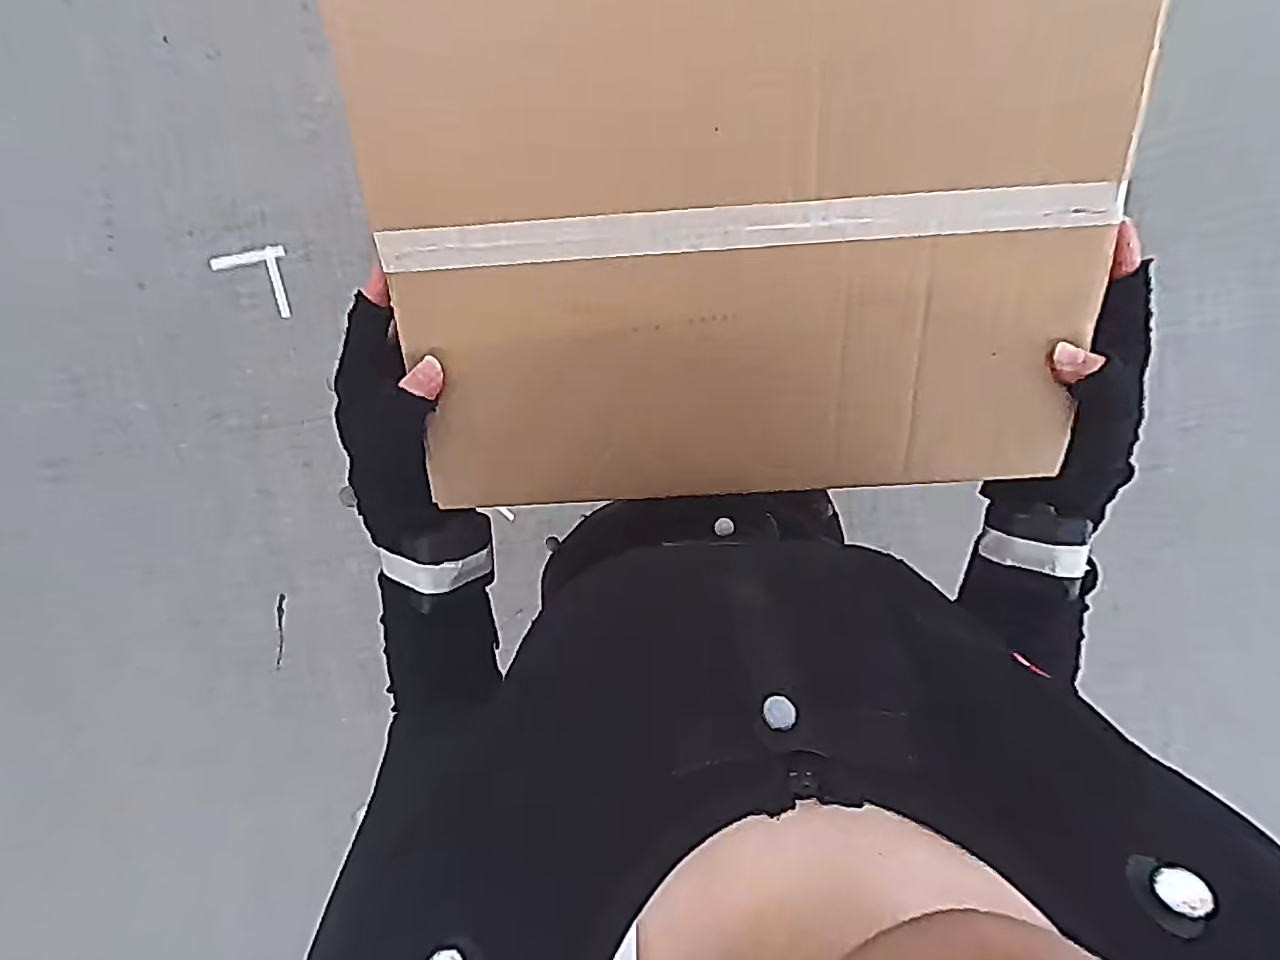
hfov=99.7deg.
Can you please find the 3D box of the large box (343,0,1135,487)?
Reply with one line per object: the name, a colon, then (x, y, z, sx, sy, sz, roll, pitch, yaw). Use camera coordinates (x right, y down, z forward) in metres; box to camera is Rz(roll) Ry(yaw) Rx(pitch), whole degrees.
large box: (0.053, -0.203, 0.445, 0.408, 0.320, 0.320, -3, 112, 0)
